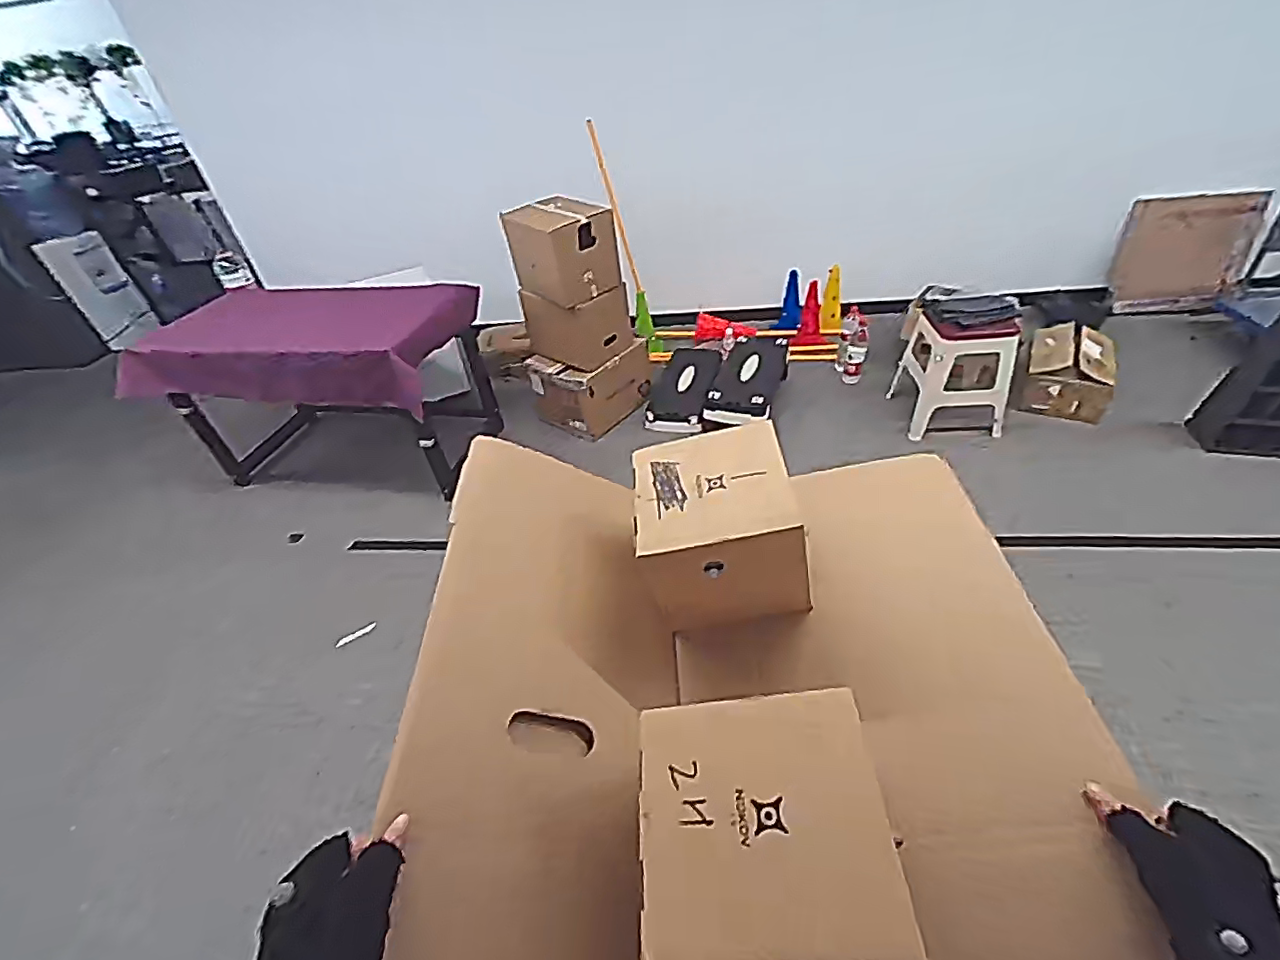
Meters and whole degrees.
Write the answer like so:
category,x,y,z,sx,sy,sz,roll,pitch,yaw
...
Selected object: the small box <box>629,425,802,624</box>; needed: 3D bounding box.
category,x,y,z,sx,sy,sz,roll,pitch,yaw
small box,0.094,0.062,0.675,0.179,0.176,0.168,-12,45,10
